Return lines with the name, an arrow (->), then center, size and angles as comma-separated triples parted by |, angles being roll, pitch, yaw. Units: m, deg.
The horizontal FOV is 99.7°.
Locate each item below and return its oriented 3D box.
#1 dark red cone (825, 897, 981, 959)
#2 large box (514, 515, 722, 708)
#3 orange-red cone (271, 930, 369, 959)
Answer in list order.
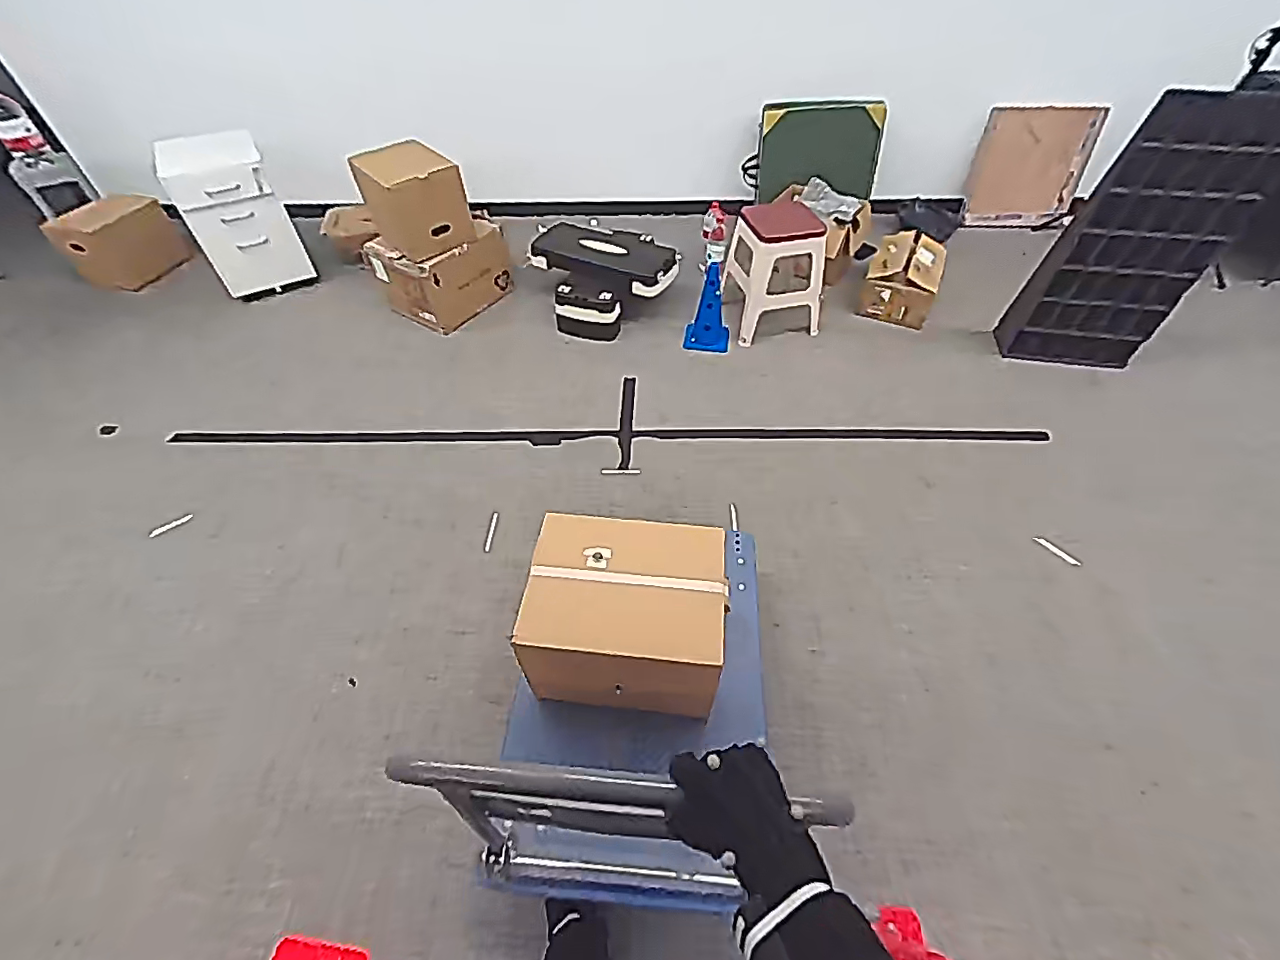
dark red cone -> 0.478, 0.837, 0.930 | 0.201, 0.394, 0.202 | 2, 50, 0
large box -> -0.025, 0.303, 1.231 | 0.408, 0.320, 0.320 | 4, 50, 5
orange-red cone -> -0.654, 0.903, 0.922 | 0.198, 0.360, 0.199 | 7, 48, 6
